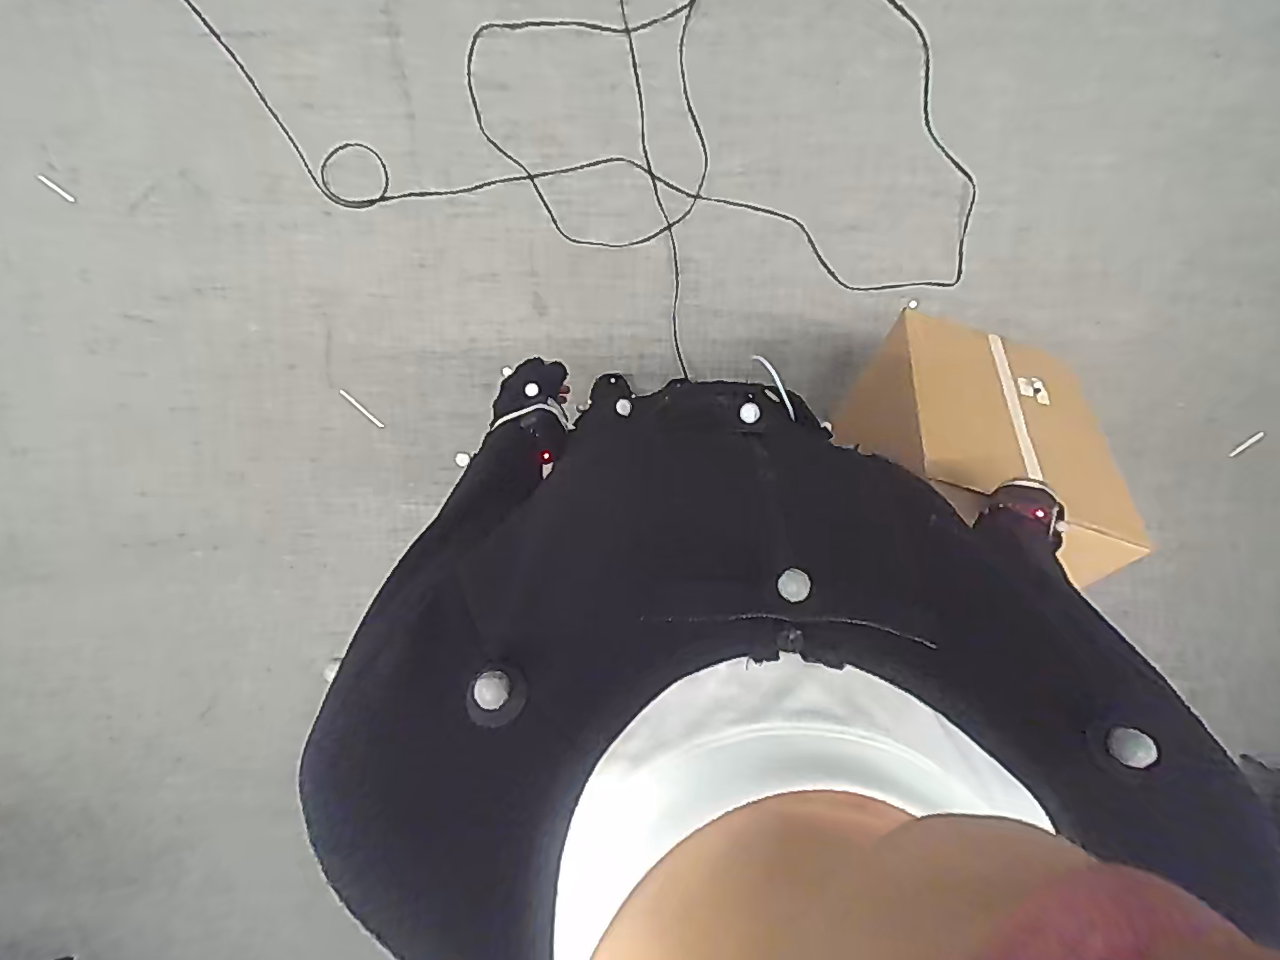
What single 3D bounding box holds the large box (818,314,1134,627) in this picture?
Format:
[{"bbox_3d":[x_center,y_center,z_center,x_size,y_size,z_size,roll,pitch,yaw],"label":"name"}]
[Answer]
[{"bbox_3d":[0.525,-0.016,0.953,0.320,0.408,0.320,18,140,-1],"label":"large box"}]
